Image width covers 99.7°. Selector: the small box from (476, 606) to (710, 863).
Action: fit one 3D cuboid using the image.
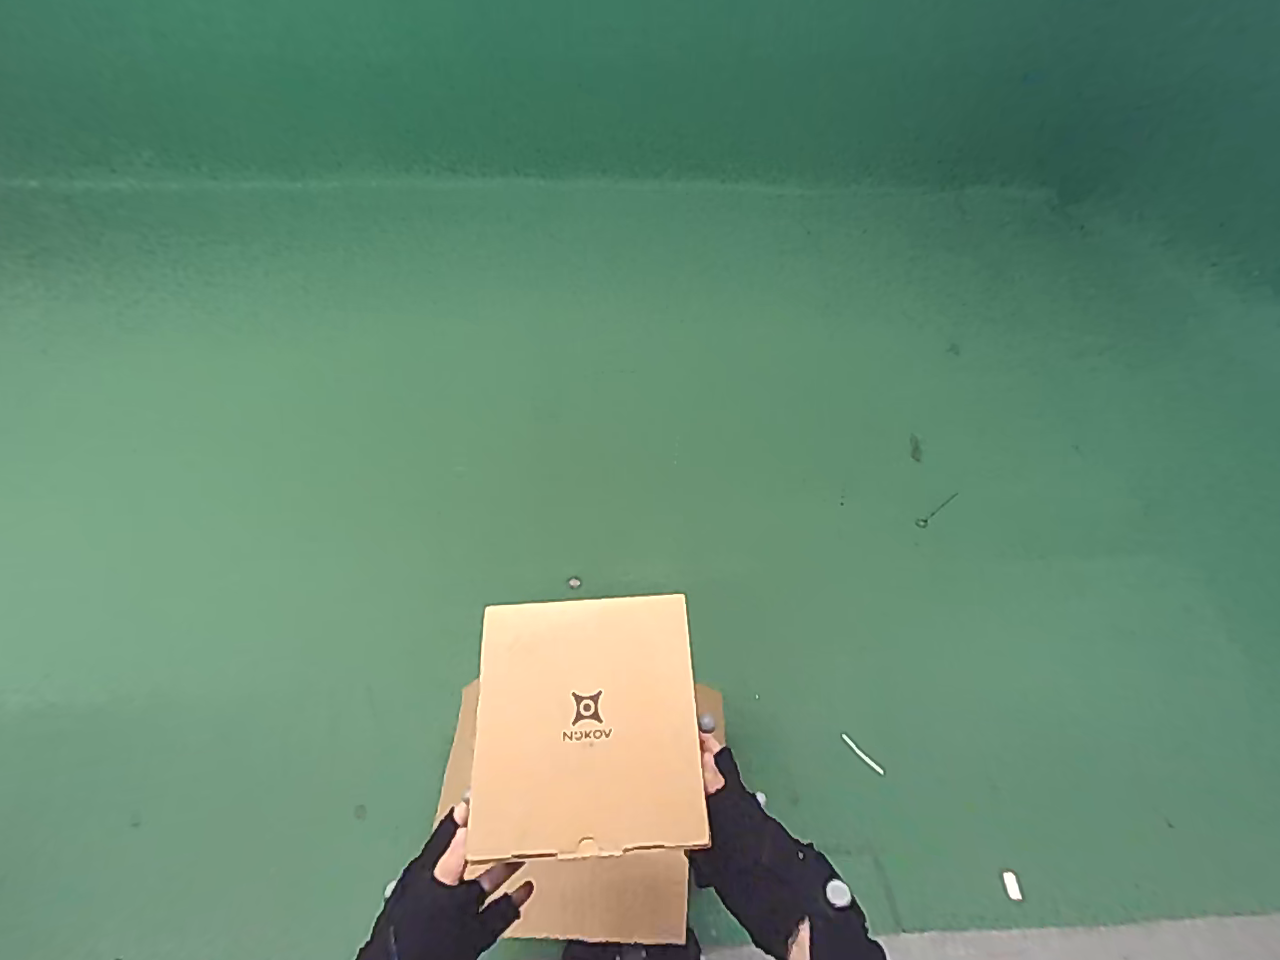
[{"bbox_3d":[-0.037,0.223,0.484,0.168,0.176,0.179,-3,62,-2],"label":"small box"}]
